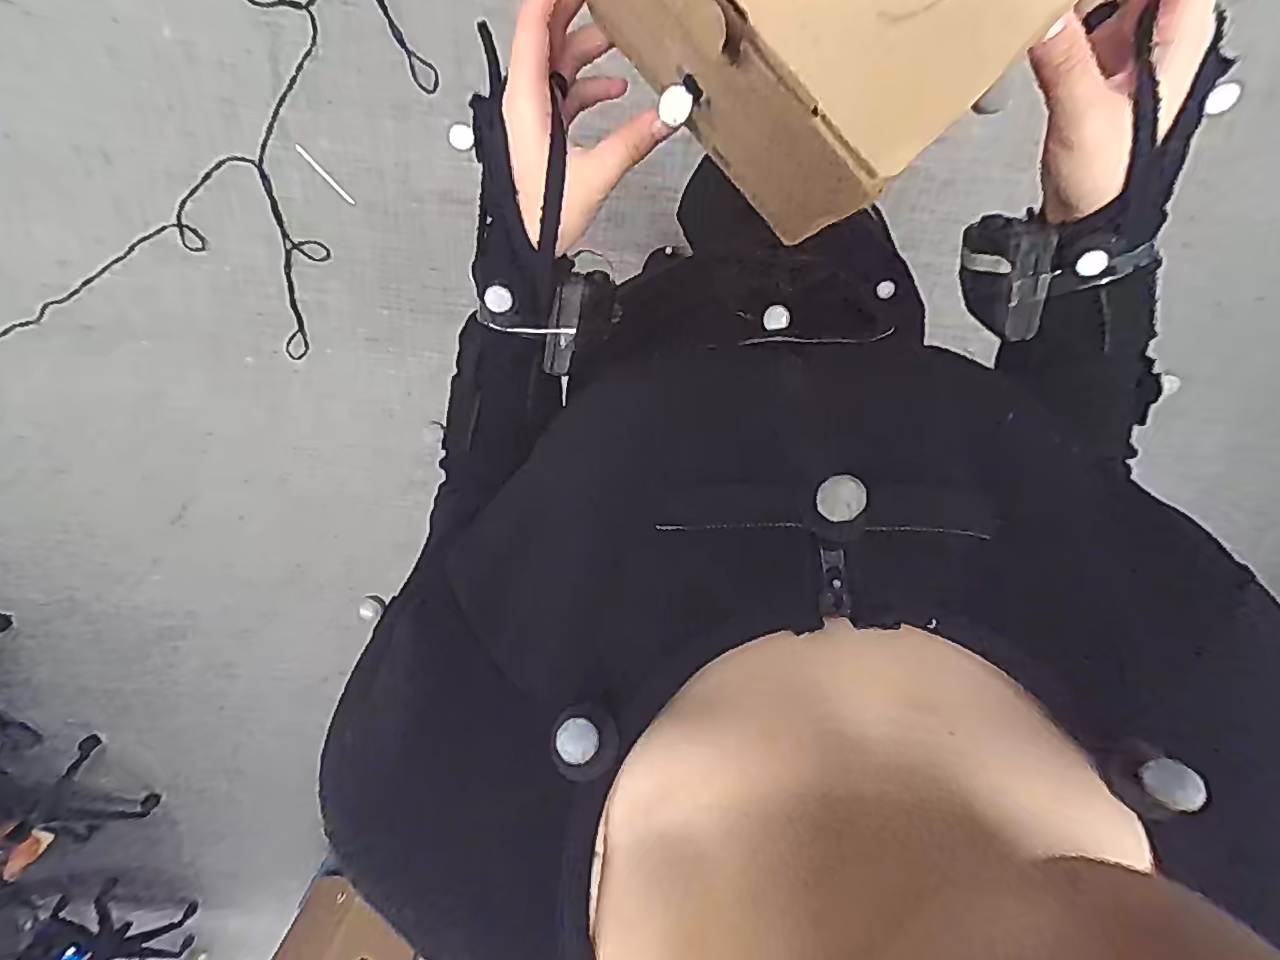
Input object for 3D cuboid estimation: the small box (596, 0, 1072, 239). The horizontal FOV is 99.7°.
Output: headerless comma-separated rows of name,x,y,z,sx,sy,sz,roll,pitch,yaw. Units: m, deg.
small box,0.083,-0.223,0.213,0.168,0.176,0.179,44,108,-8
